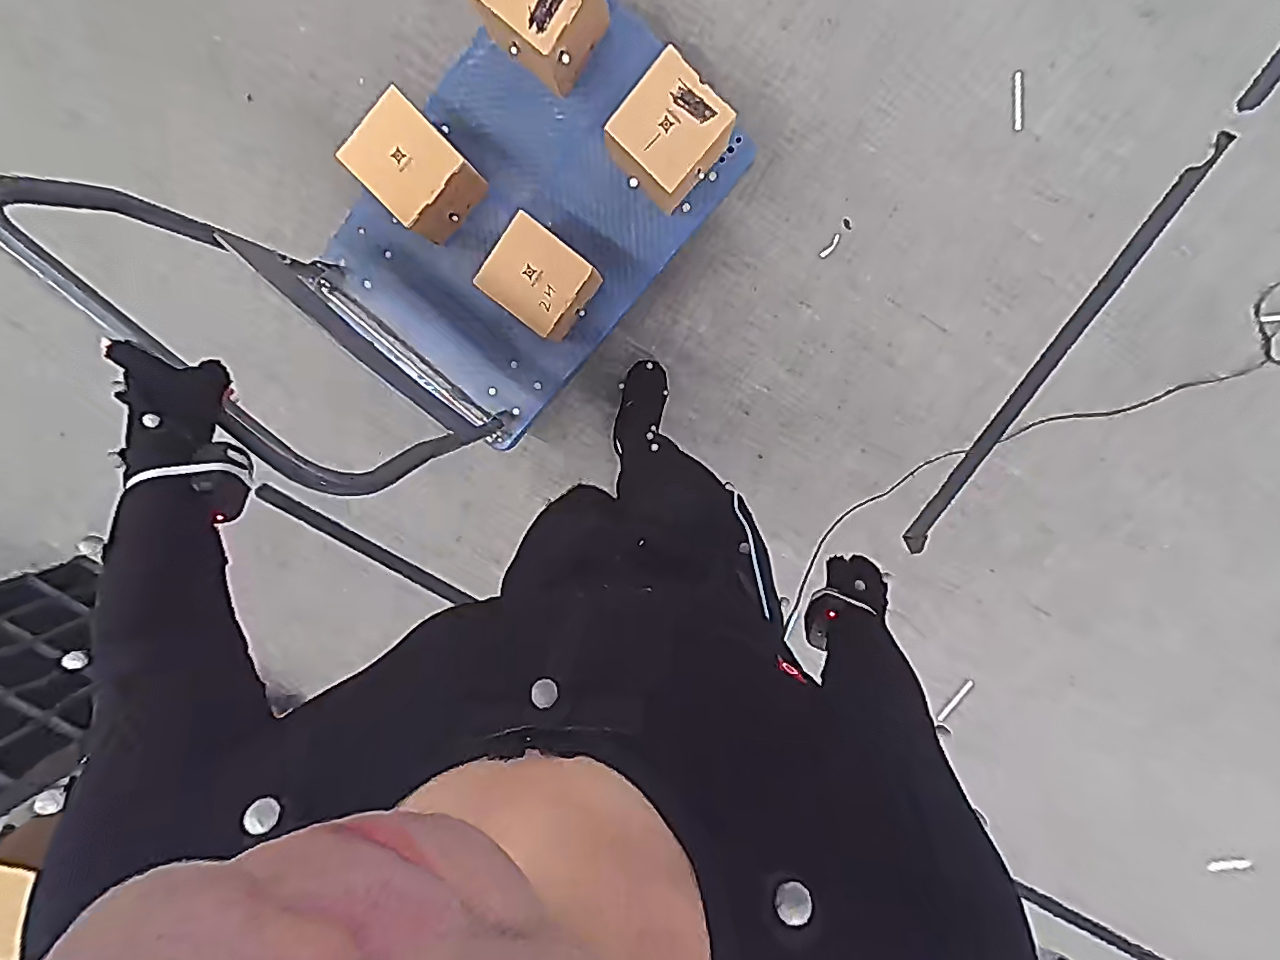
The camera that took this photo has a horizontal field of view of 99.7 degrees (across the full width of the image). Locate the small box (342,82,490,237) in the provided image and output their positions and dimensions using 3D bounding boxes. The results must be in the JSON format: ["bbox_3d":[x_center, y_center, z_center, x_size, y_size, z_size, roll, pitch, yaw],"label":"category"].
[{"bbox_3d":[-0.426,-0.609,1.058,0.168,0.176,0.179,-43,100,9],"label":"small box"}]

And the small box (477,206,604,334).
[{"bbox_3d":[-0.192,-0.410,1.096,0.179,0.176,0.168,37,102,-6],"label":"small box"}]

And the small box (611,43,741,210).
[{"bbox_3d":[0.064,-0.657,1.031,0.168,0.176,0.179,42,102,-7],"label":"small box"}]
